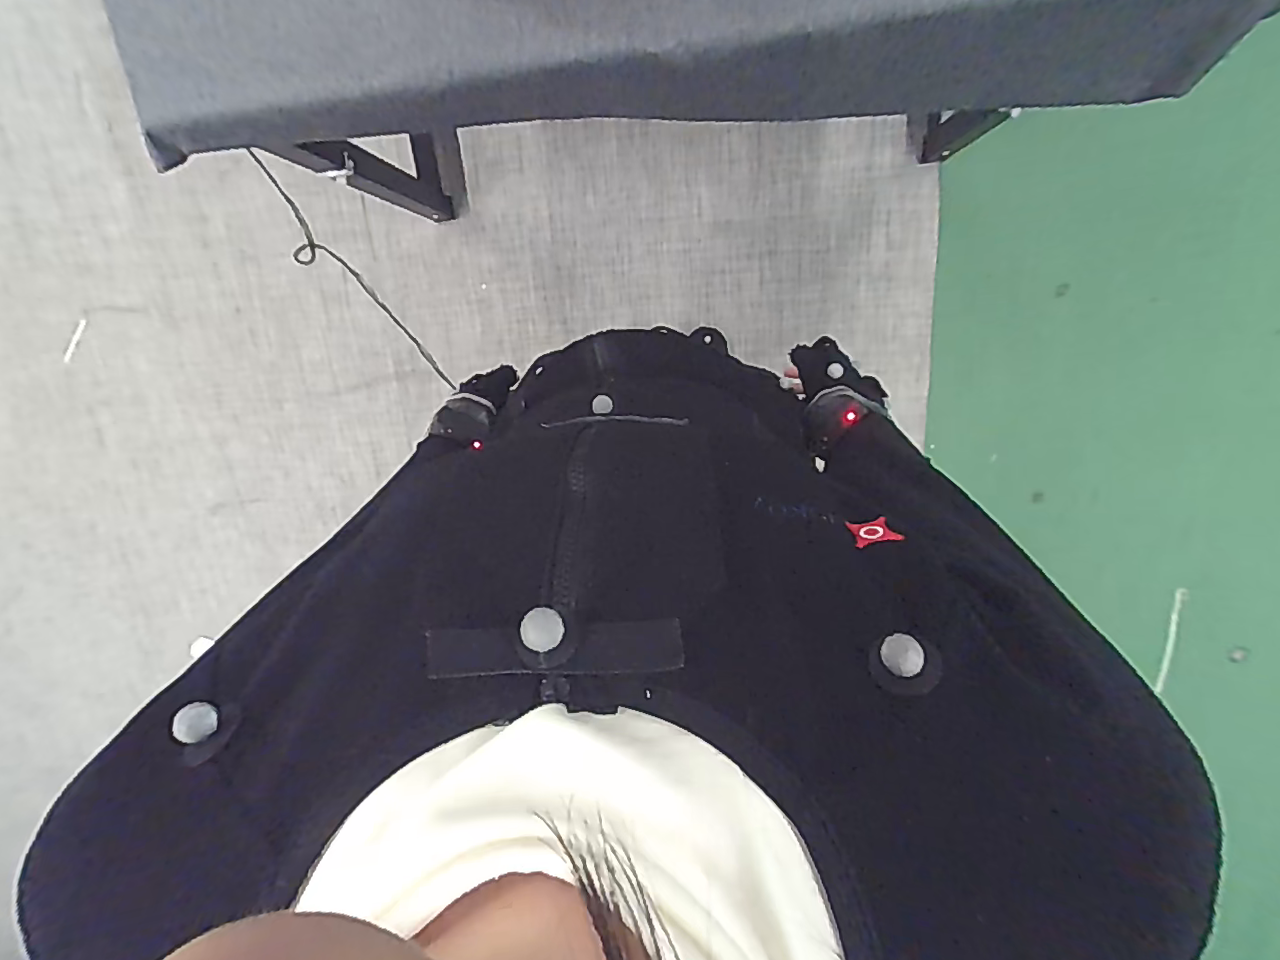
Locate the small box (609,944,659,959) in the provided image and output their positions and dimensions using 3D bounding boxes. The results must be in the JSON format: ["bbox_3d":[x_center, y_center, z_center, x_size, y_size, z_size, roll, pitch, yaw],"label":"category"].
[{"bbox_3d":[-0.021,1.757,1.875,0.179,0.176,0.168,-4,106,4],"label":"small box"}]
